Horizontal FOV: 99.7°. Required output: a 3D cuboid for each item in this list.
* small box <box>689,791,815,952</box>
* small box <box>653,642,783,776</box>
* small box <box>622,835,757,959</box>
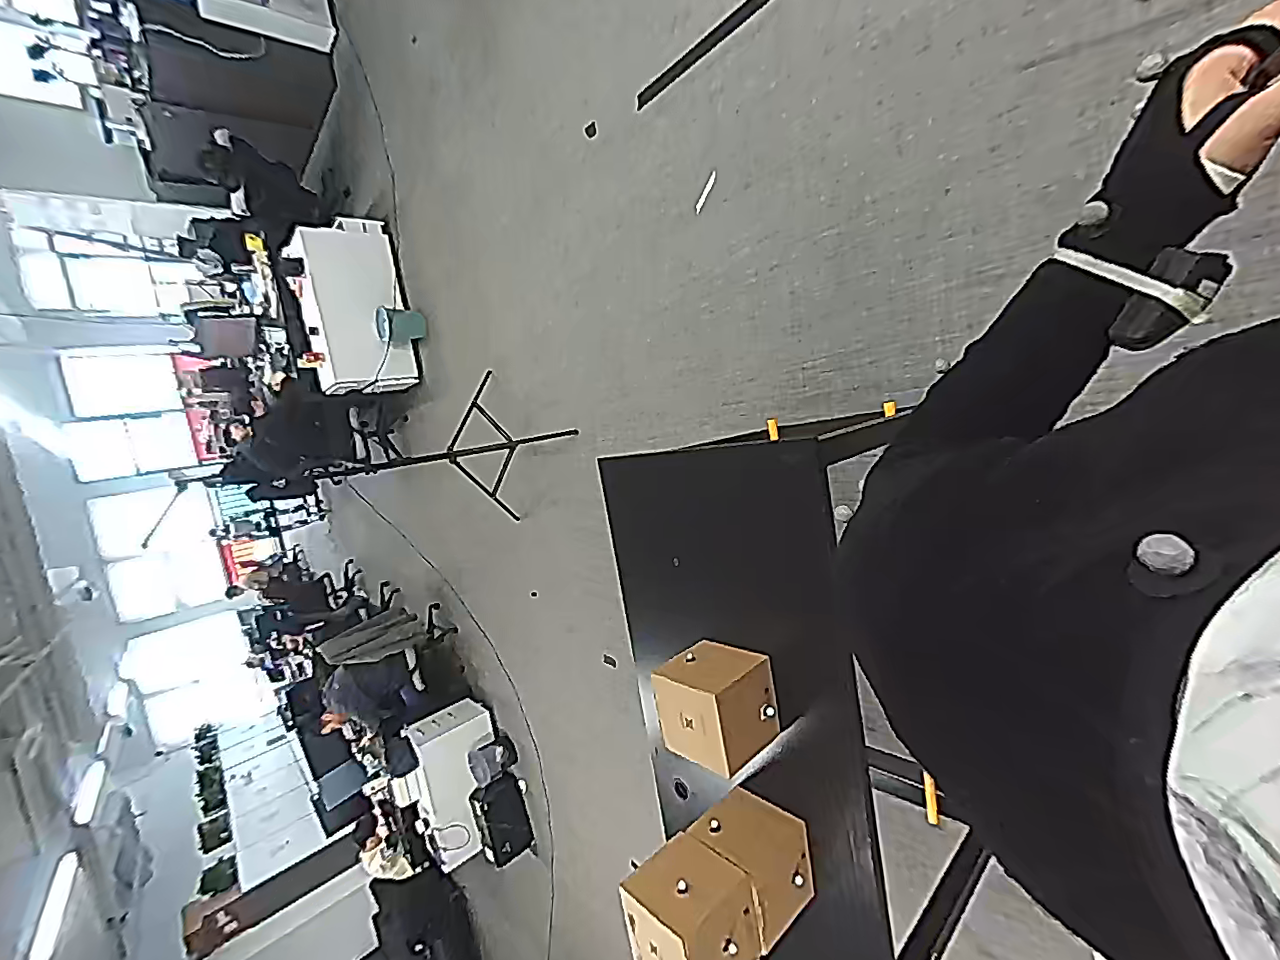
[{"bbox_3d":[0.225,0.768,1.090,0.179,0.176,0.168,0,102,49],"label":"small box"},{"bbox_3d":[0.155,0.439,1.072,0.179,0.176,0.168,-4,100,49],"label":"small box"},{"bbox_3d":[0.097,0.804,0.993,0.179,0.176,0.168,-5,98,50],"label":"small box"}]
